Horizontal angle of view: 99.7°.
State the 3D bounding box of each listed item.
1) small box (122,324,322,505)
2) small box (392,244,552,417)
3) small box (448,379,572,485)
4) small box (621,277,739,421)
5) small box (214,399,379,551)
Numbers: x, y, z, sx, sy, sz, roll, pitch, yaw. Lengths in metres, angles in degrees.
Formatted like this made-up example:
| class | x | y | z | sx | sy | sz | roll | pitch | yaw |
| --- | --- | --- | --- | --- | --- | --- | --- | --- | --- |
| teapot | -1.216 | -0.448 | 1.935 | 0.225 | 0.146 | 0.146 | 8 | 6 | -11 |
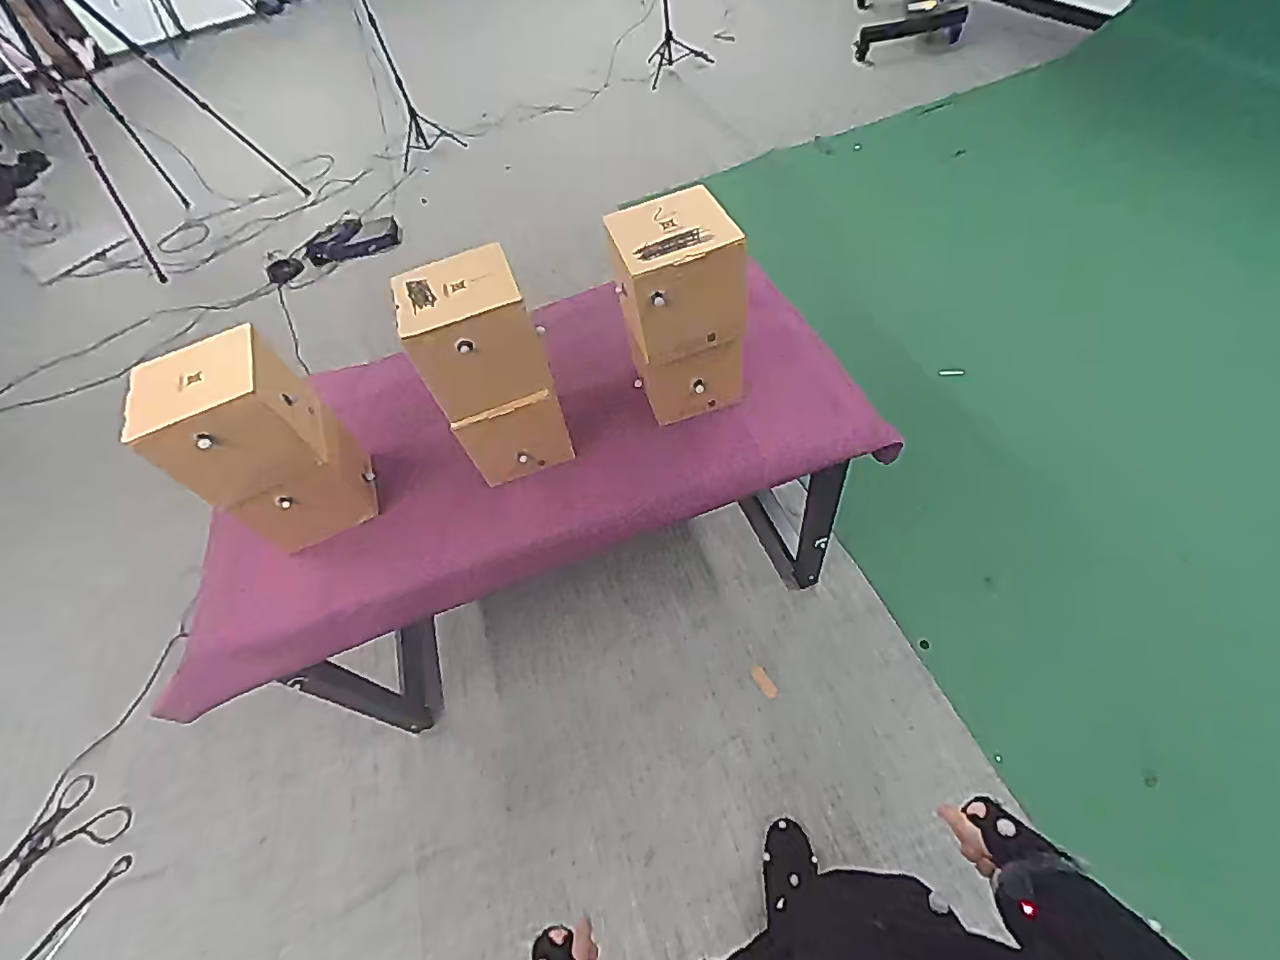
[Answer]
| class | x | y | z | sx | sy | sz | roll | pitch | yaw |
| --- | --- | --- | --- | --- | --- | --- | --- | --- | --- |
| small box | -0.607 | -0.093 | 0.811 | 0.179 | 0.176 | 0.168 | -26 | 56 | -7 |
| small box | -0.255 | -0.224 | 0.835 | 0.179 | 0.176 | 0.168 | -21 | 54 | -5 |
| small box | -0.231 | -0.122 | 0.962 | 0.168 | 0.176 | 0.179 | -19 | 54 | -3 |
| small box | 0.077 | -0.228 | 0.980 | 0.168 | 0.176 | 0.179 | -17 | 54 | -2 |
| small box | -0.589 | -0.003 | 0.944 | 0.179 | 0.176 | 0.168 | -23 | 55 | -7 |
